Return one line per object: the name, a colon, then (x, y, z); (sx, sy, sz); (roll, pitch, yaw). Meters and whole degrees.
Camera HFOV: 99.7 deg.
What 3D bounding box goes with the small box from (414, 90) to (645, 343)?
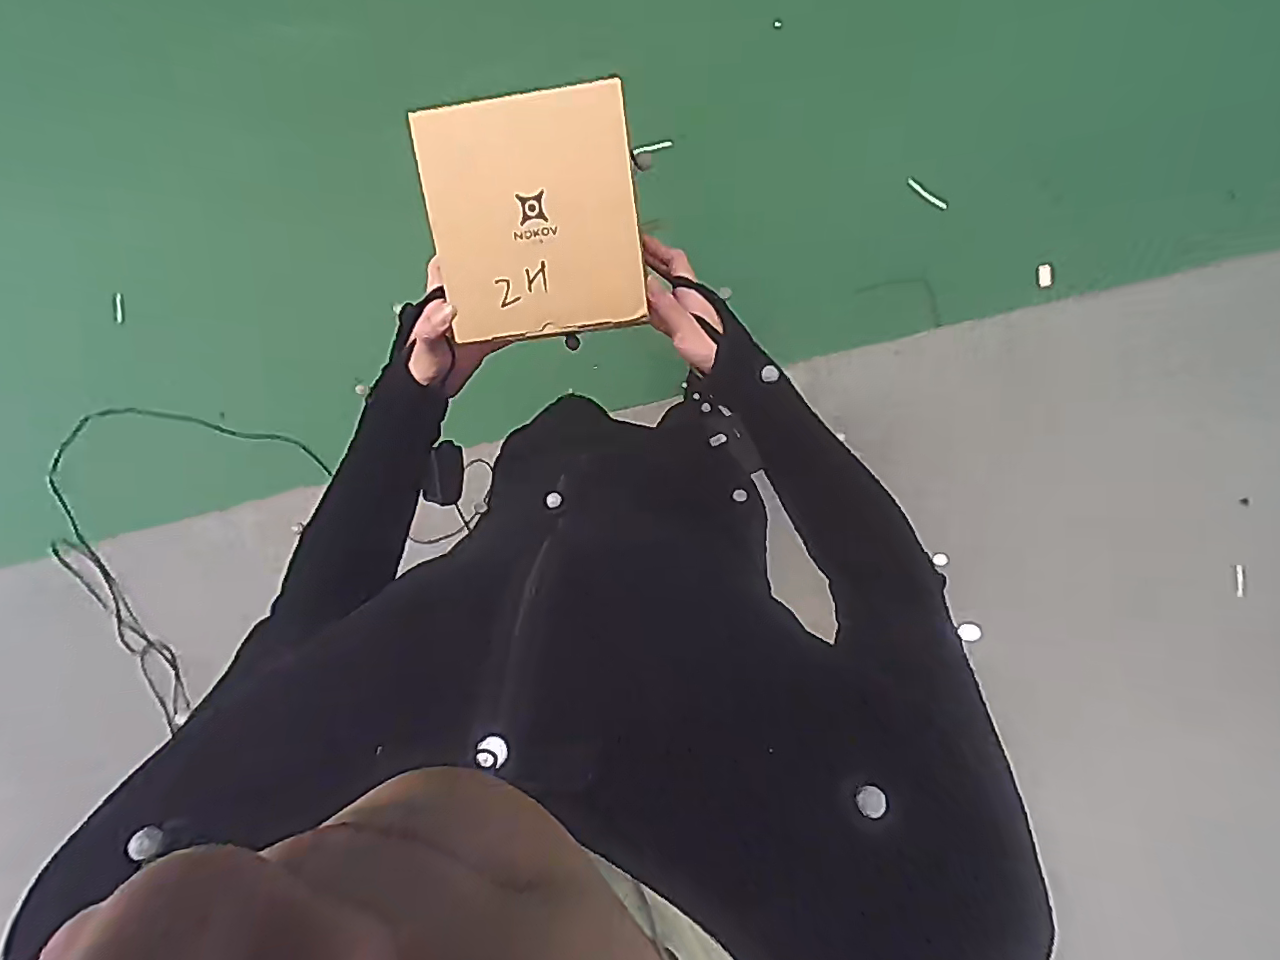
small box: (-0.085, -0.227, 0.515); (0.168, 0.176, 0.179); (-6, 105, 4)
